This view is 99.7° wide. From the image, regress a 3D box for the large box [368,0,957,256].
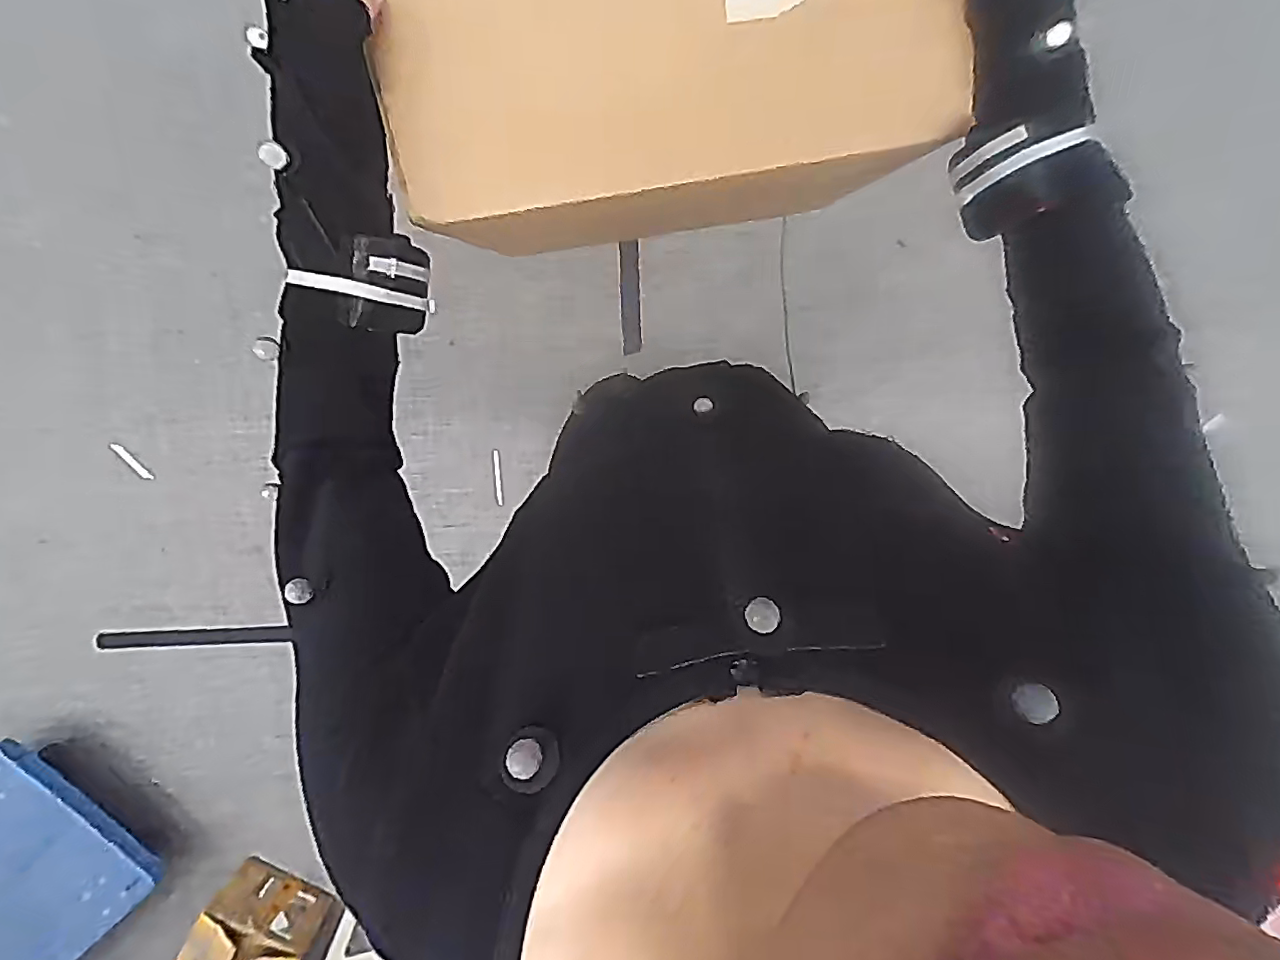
[{"bbox_3d":[0.006,-0.414,0.495,0.408,0.320,0.320,-8,108,2],"label":"large box"}]
